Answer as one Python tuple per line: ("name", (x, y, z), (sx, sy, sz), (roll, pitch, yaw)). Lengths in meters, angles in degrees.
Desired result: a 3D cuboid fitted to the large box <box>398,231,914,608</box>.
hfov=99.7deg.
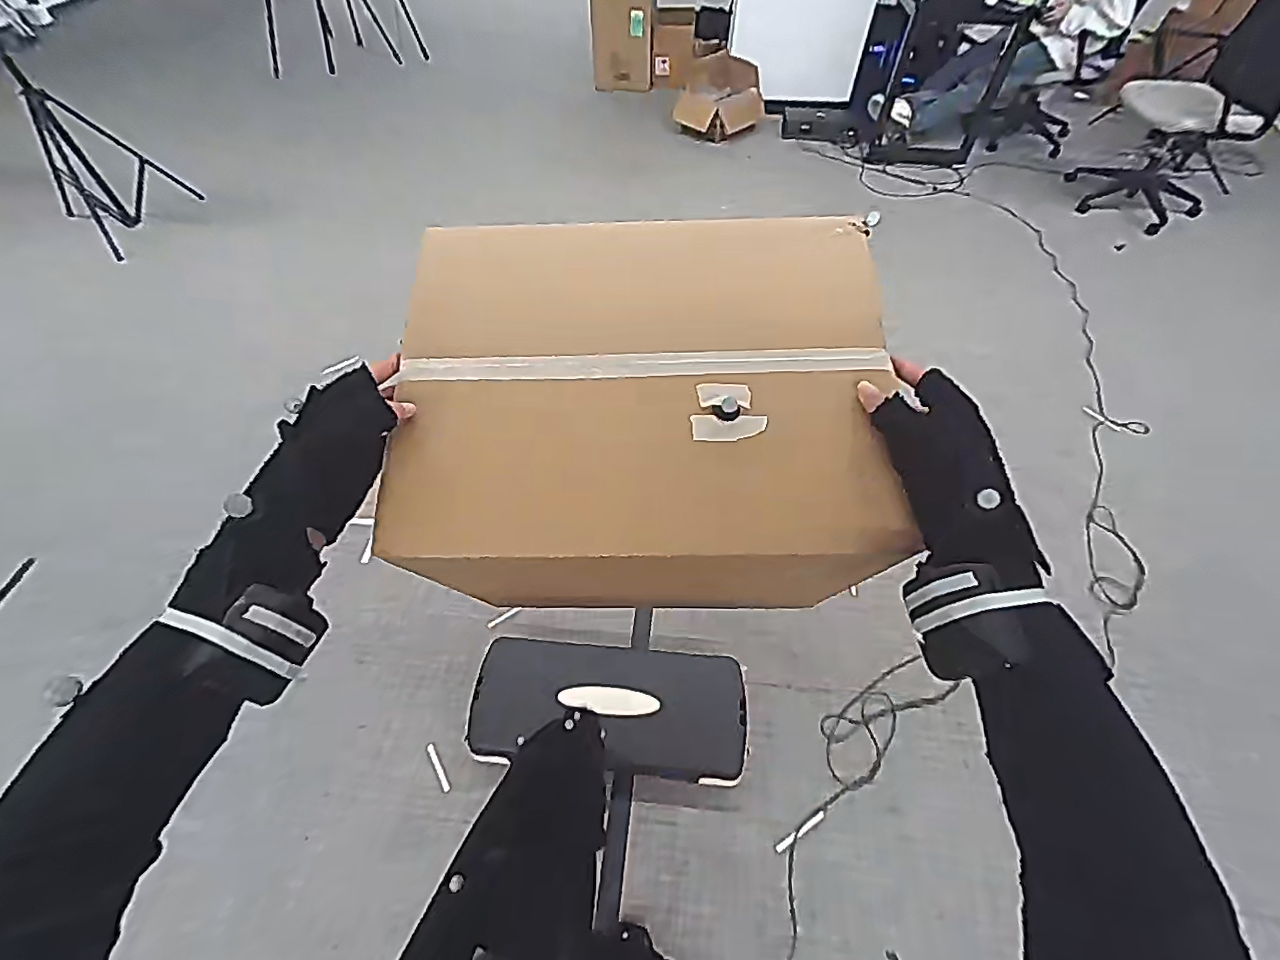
("large box", (0.011, -0.038, 0.601), (0.408, 0.320, 0.320), (0, 70, 1))
